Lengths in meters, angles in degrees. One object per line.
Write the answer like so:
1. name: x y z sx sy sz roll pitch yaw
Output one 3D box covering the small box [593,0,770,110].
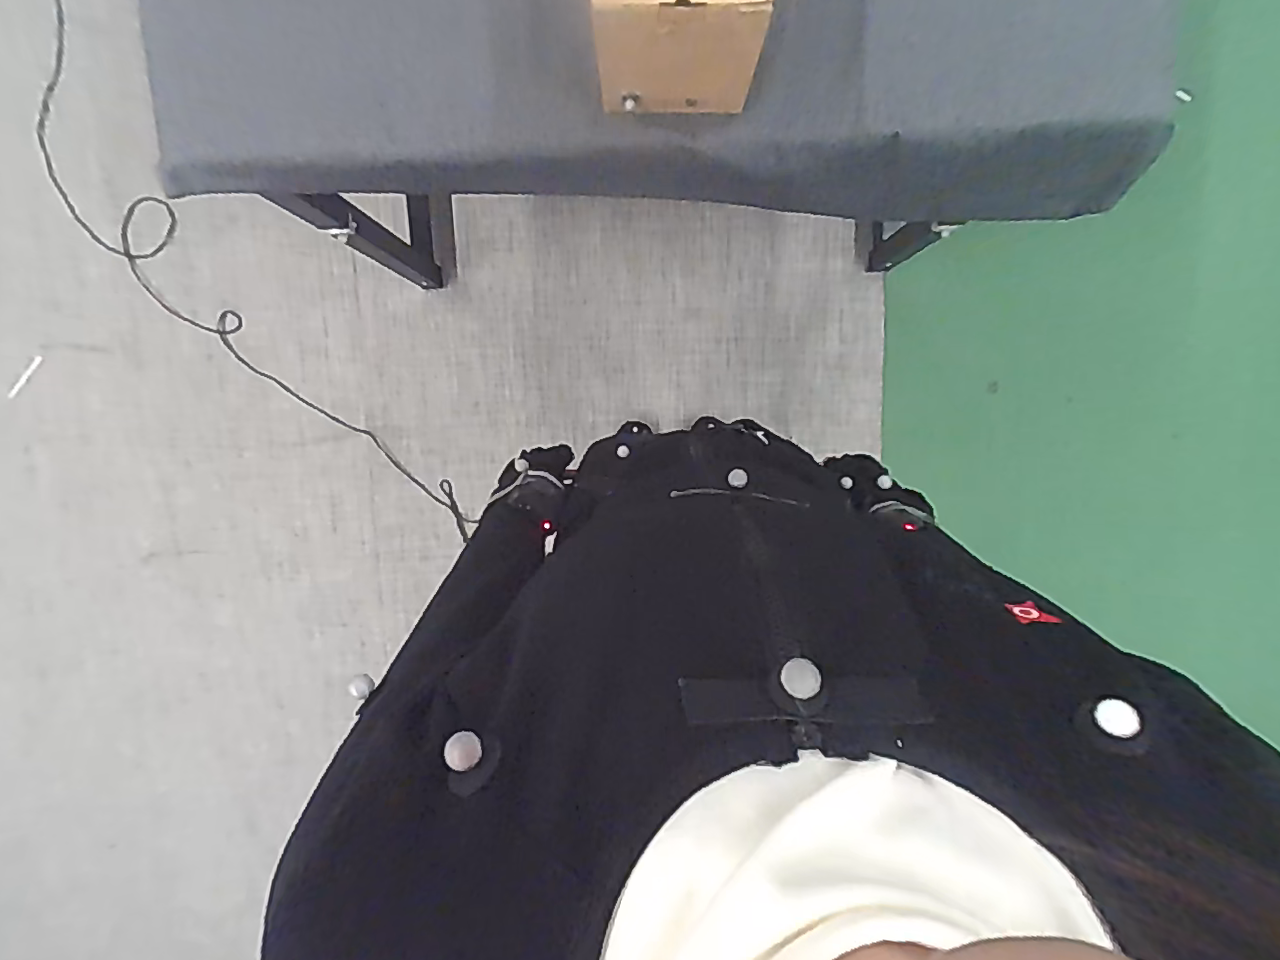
1. small box: 0.042 -0.522 0.564 0.168 0.176 0.179 2 95 -1
